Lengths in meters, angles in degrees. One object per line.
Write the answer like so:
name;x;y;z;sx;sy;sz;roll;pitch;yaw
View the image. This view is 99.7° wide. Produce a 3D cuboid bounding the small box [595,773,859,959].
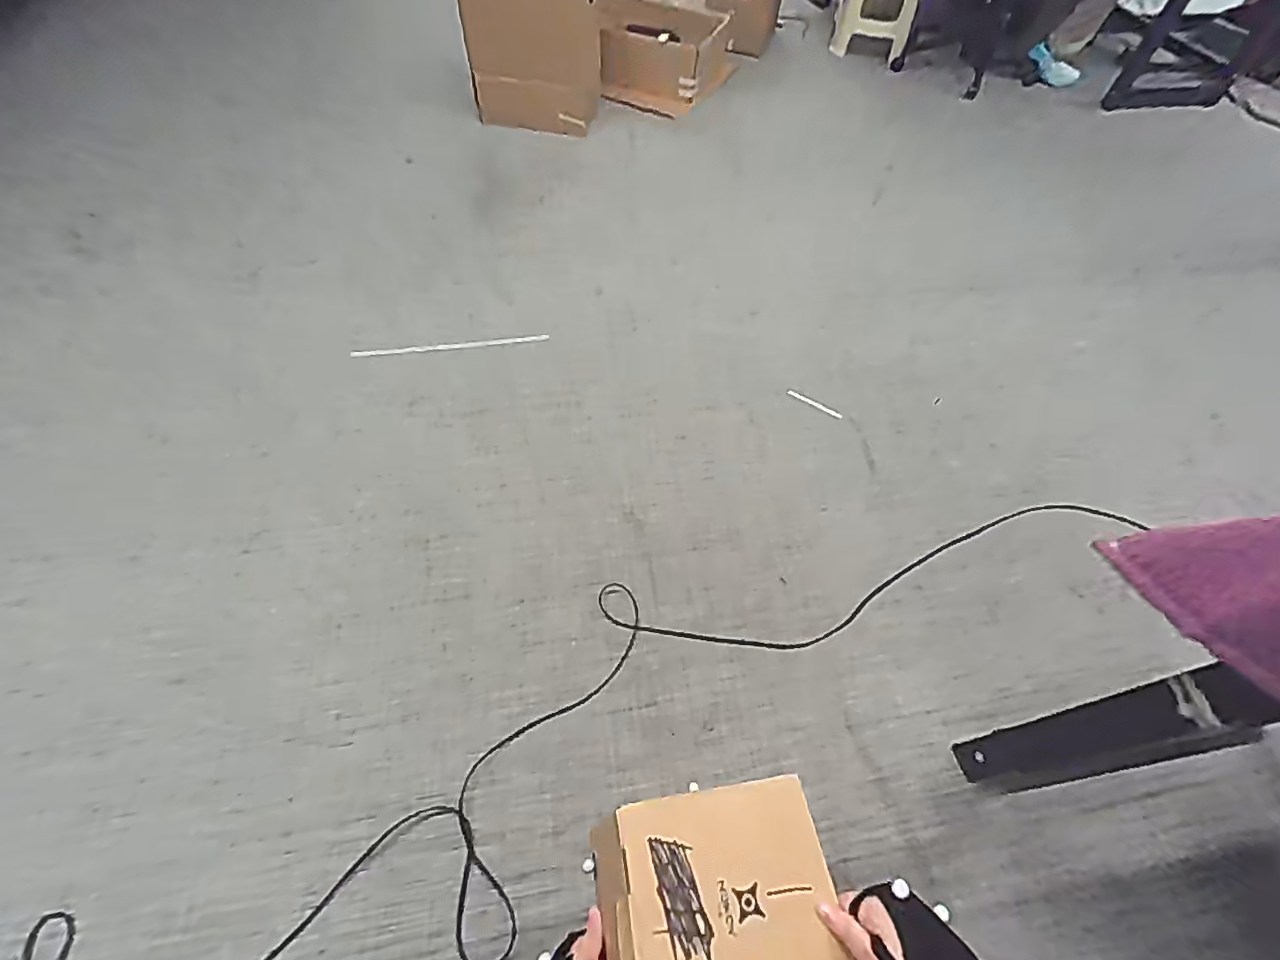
small box;0.060;0.383;0.486;0.179;0.176;0.168;0;53;-18
